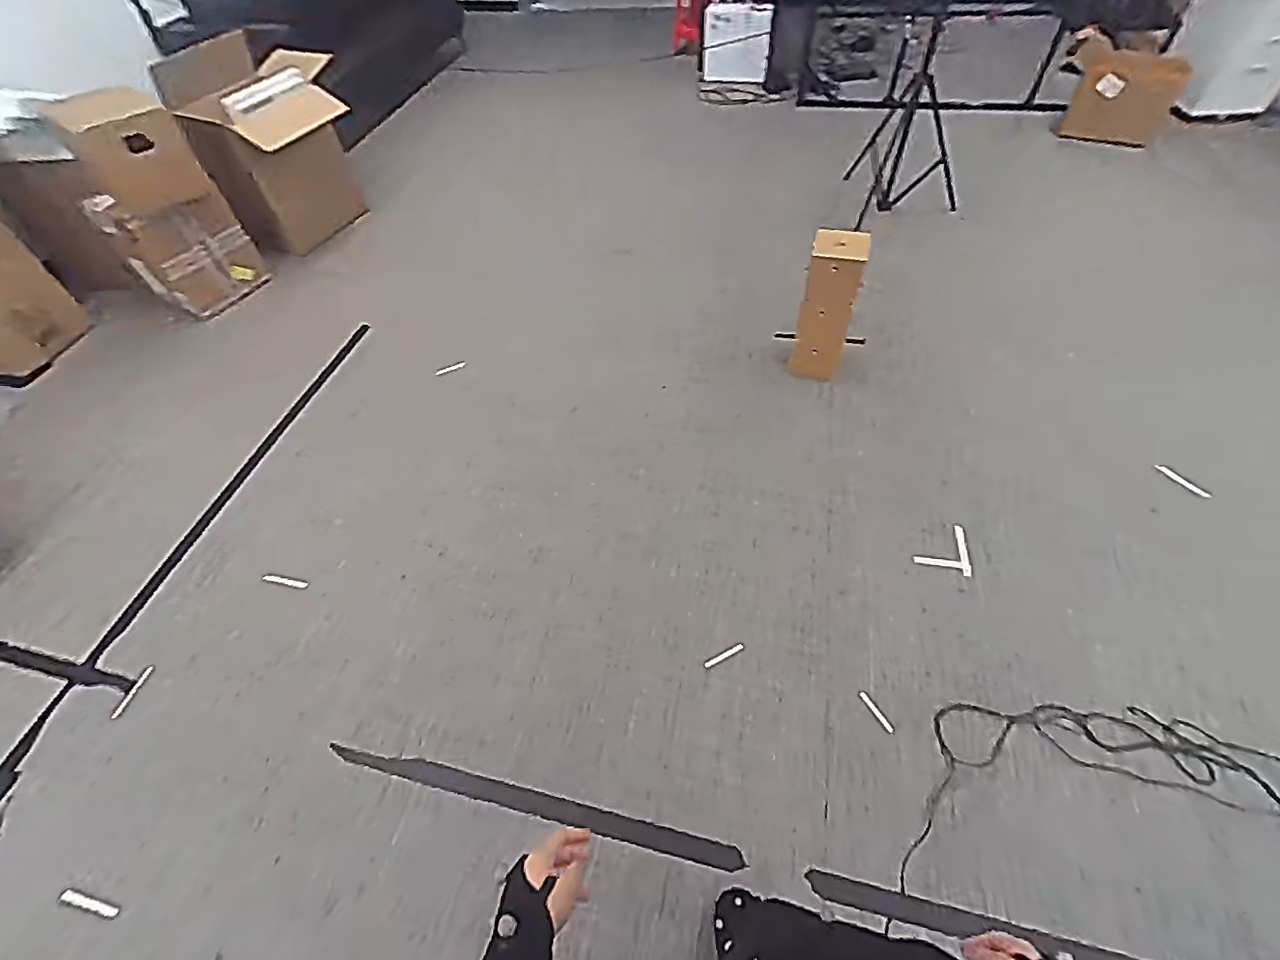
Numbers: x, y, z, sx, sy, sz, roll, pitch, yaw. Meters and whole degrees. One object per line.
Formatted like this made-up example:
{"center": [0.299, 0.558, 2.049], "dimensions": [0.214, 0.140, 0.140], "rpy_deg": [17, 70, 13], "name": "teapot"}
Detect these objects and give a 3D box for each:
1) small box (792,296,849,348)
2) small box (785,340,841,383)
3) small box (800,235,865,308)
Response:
{"center": [0.660, -0.601, 1.962], "dimensions": [0.179, 0.176, 0.168], "rpy_deg": [14, 56, 15], "name": "small box"}
{"center": [0.670, -0.495, 2.088], "dimensions": [0.179, 0.176, 0.168], "rpy_deg": [12, 55, 14], "name": "small box"}
{"center": [0.650, -0.704, 1.838], "dimensions": [0.179, 0.176, 0.168], "rpy_deg": [12, 56, 13], "name": "small box"}
